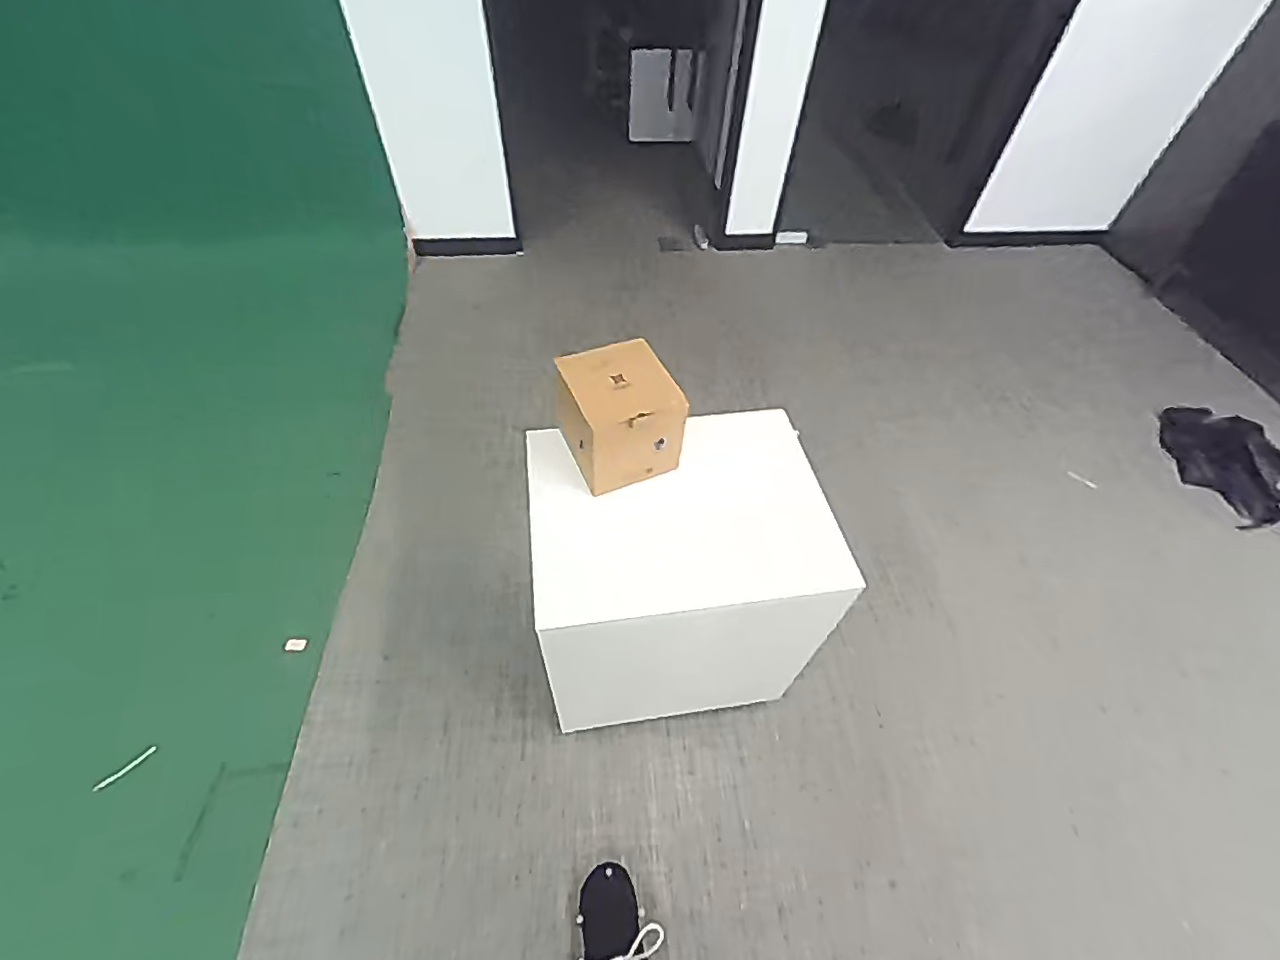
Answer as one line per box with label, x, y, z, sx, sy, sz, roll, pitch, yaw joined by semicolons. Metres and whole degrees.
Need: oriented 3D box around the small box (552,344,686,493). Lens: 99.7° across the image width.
small box;-0.039;-0.098;0.918;0.168;0.176;0.179;-18;54;-19
